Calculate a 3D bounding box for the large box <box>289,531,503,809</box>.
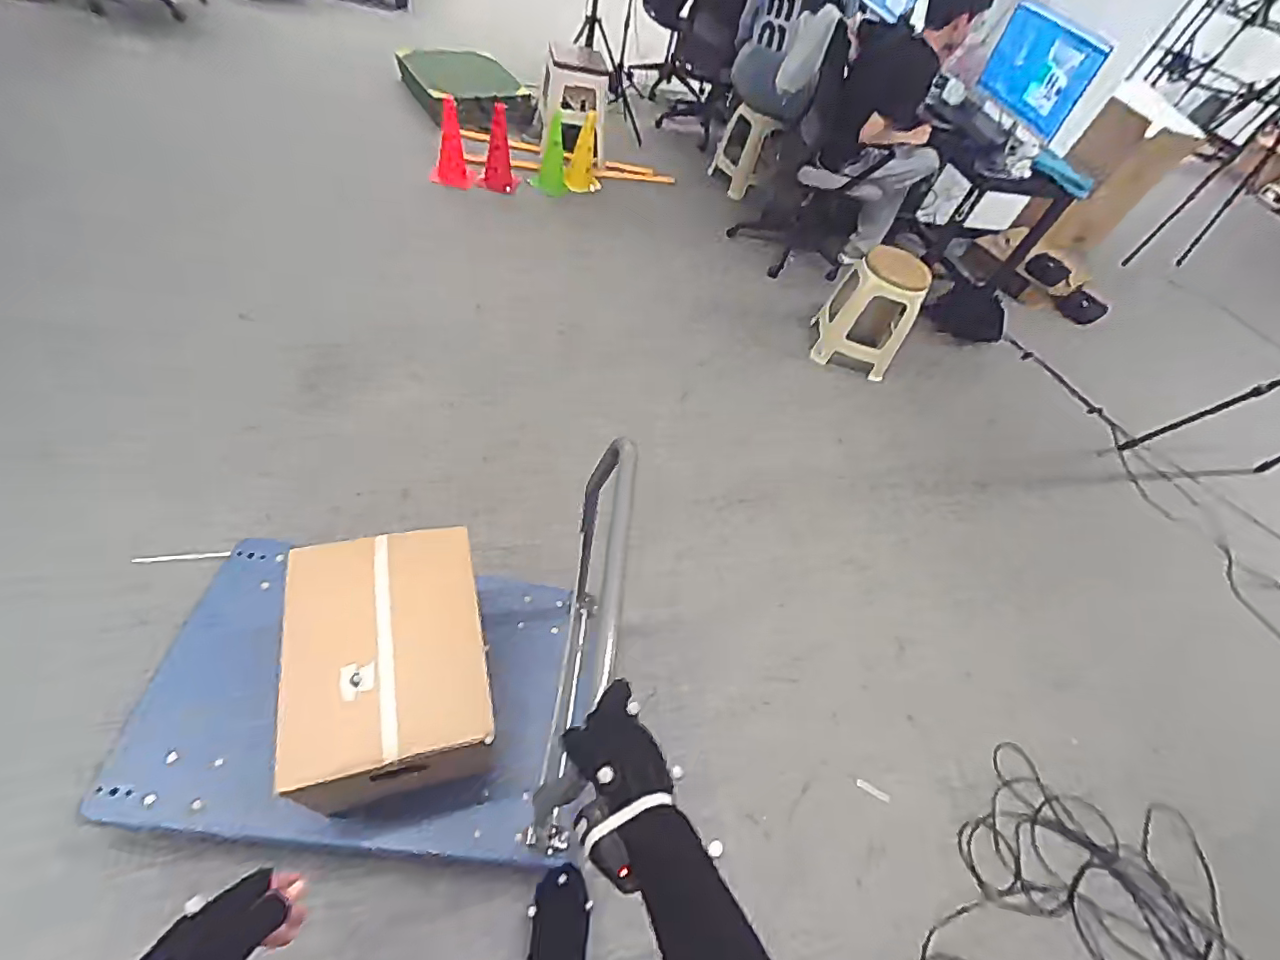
[{"bbox_3d":[-0.461,0.360,1.052,0.320,0.320,0.408,-6,57,-20],"label":"large box"}]
